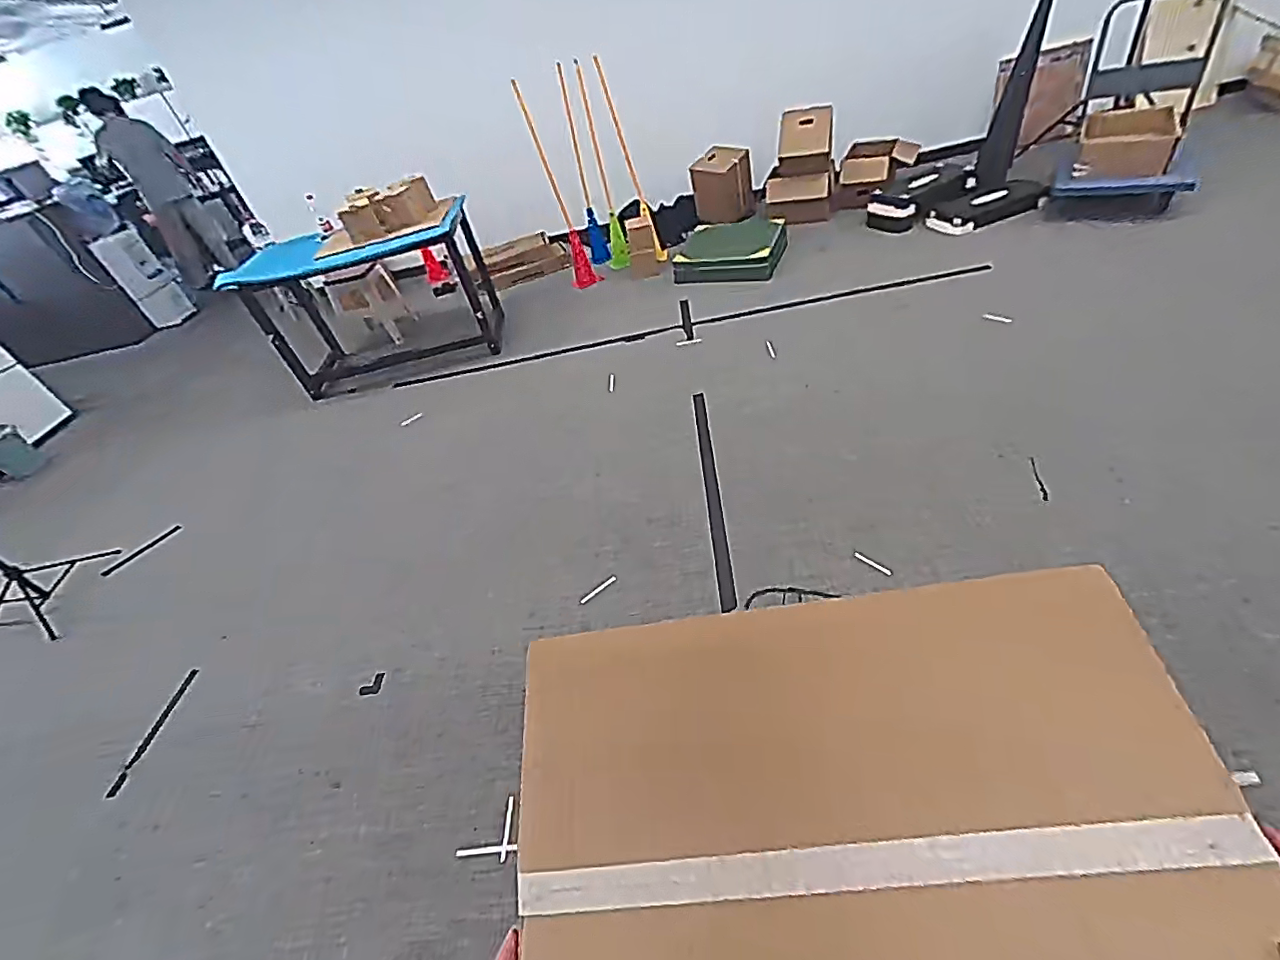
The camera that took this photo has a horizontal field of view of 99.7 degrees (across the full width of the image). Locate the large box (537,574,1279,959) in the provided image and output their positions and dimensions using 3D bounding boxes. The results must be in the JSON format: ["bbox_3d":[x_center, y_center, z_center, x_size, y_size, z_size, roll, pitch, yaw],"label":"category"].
[{"bbox_3d":[0.159,0.306,0.437,0.408,0.320,0.320,-10,57,8],"label":"large box"}]
